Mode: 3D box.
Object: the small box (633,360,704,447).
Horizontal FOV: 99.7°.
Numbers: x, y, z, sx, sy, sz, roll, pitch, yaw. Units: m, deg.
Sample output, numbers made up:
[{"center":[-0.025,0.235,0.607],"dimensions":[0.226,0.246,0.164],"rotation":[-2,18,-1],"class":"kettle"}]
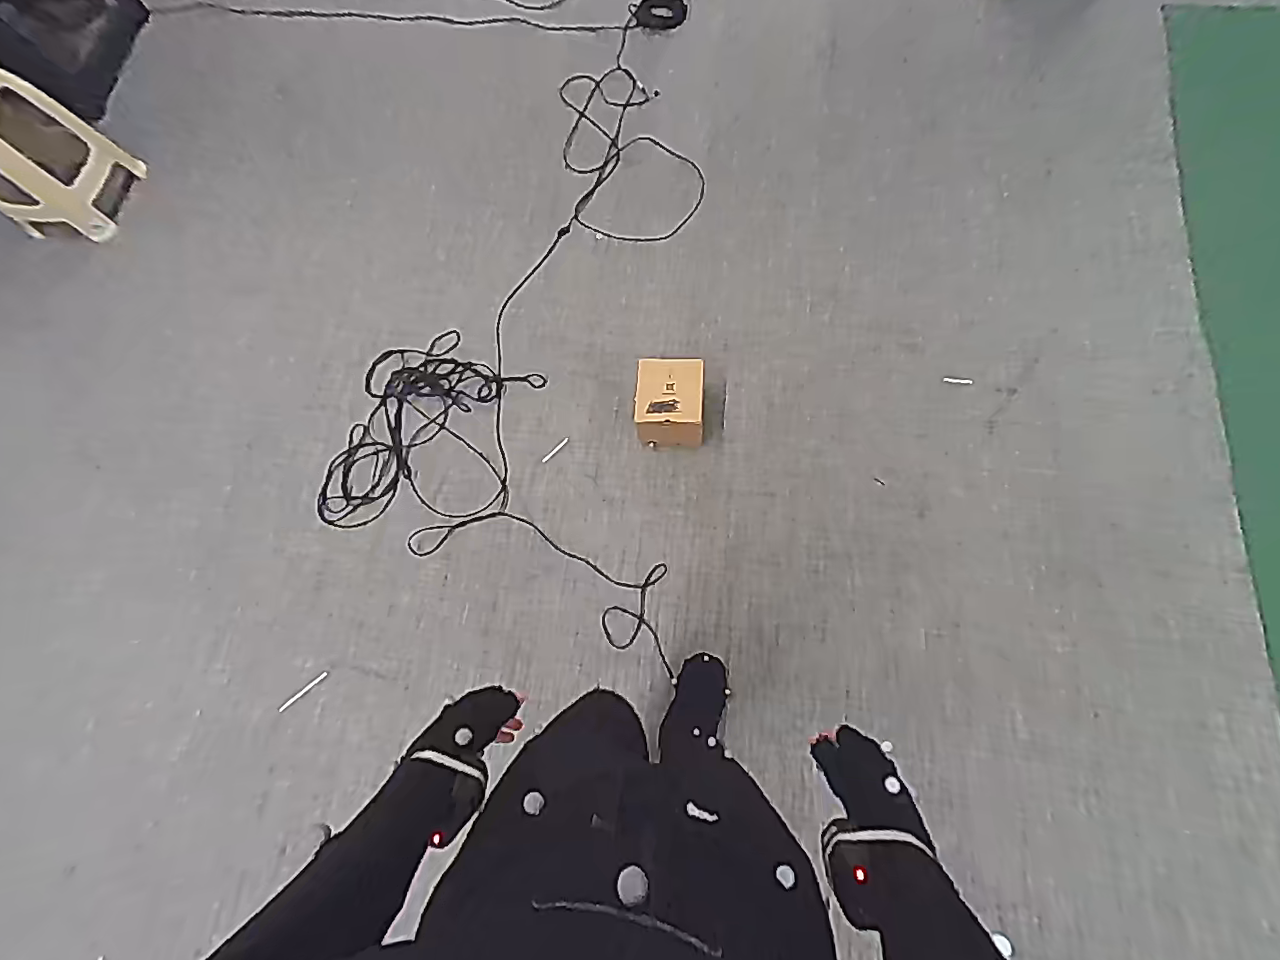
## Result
[{"center":[0.080,-0.193,1.406],"dimensions":[0.168,0.176,0.179],"rotation":[2,73,7],"class":"small box"}]
